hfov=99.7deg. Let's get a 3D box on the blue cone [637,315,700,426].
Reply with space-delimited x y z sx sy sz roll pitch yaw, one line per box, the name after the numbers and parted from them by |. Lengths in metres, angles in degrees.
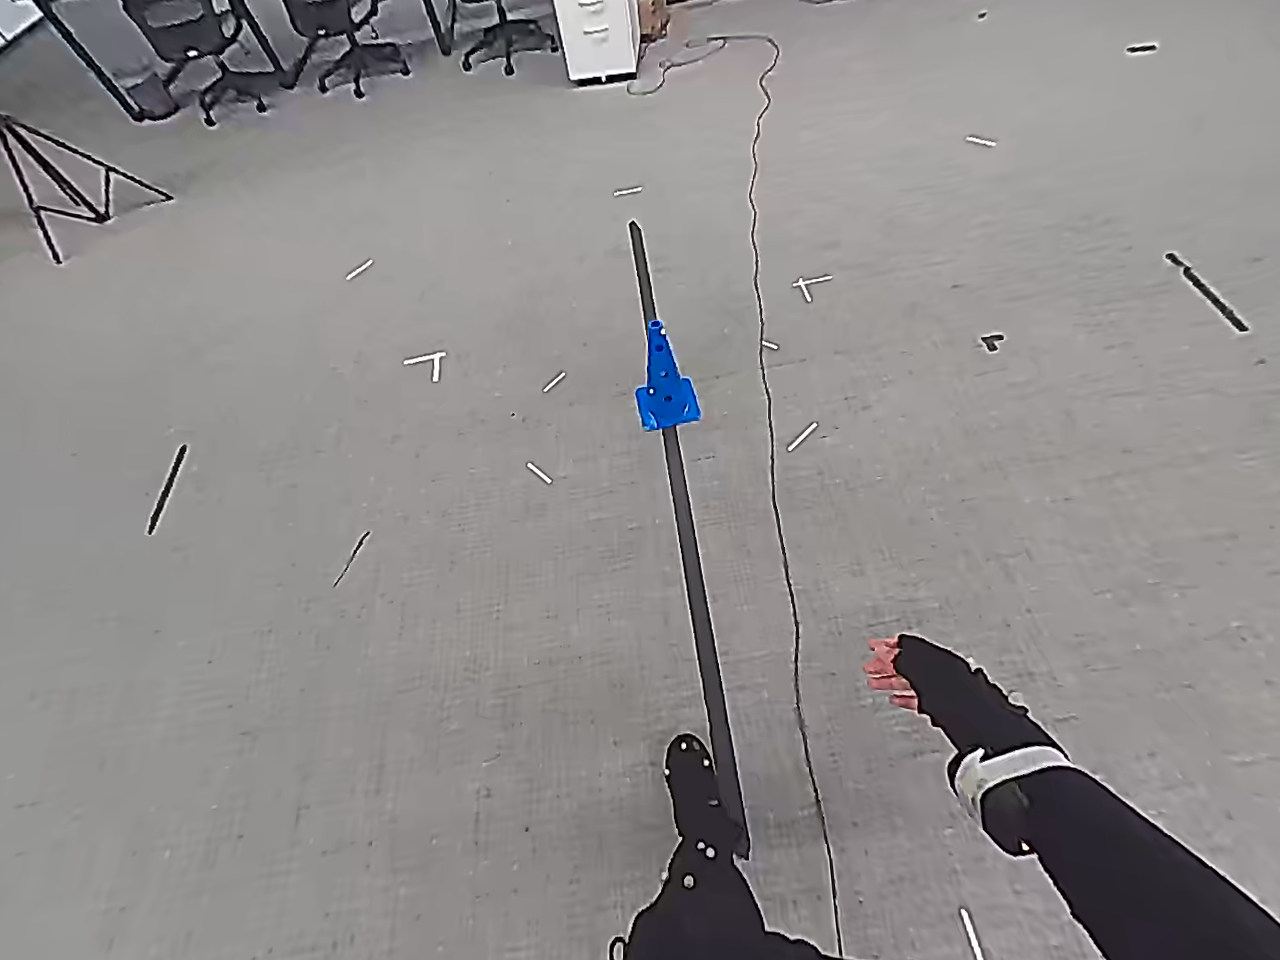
0.068 -0.359 1.709 0.192 0.380 0.193 -15 55 0 | blue cone
